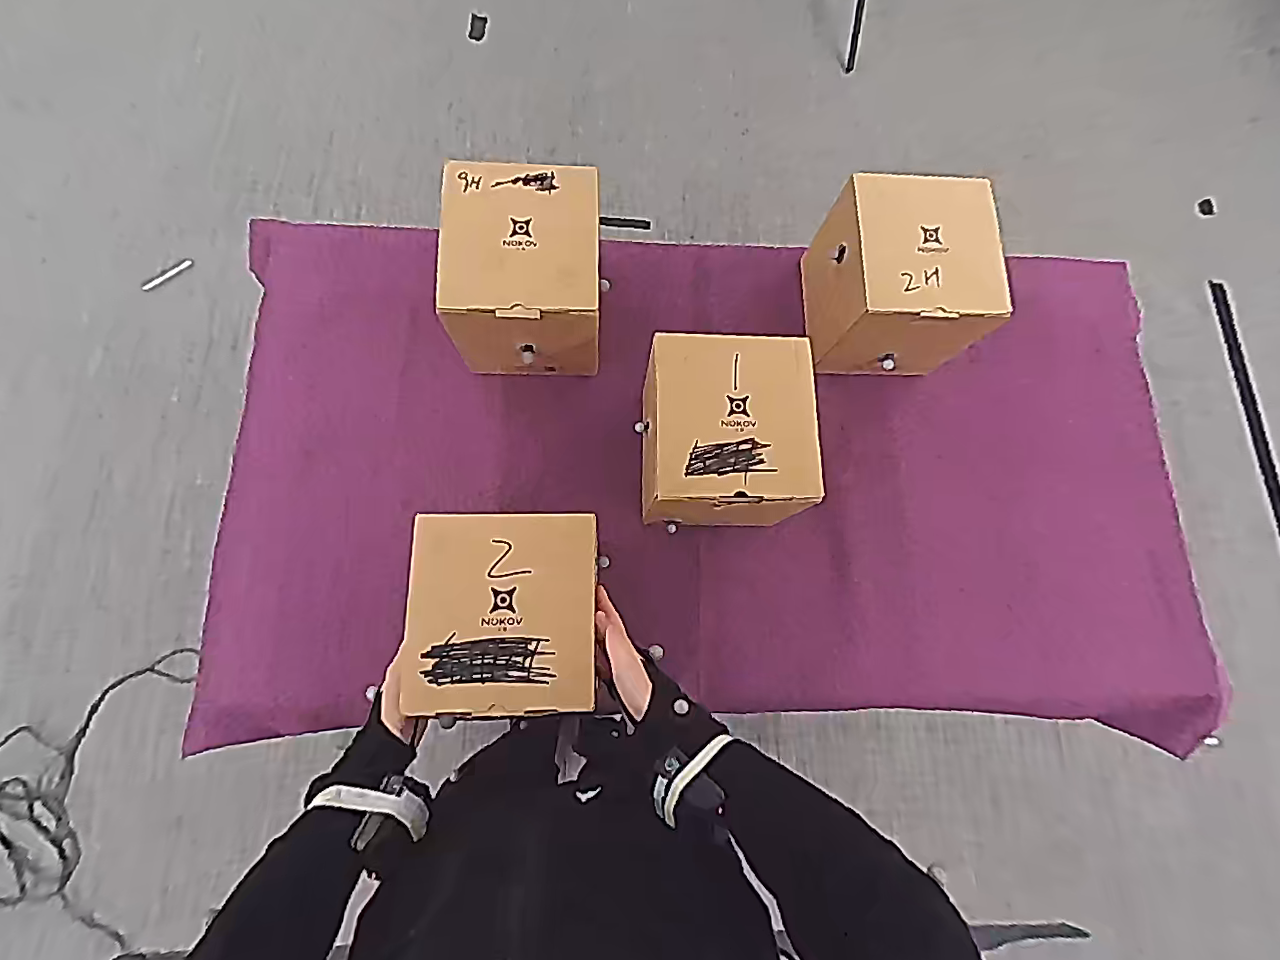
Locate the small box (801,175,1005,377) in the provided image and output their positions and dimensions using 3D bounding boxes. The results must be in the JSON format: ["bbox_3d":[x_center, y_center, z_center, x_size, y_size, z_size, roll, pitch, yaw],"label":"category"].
[{"bbox_3d":[0.313,-0.246,0.683,0.168,0.176,0.179,0,78,-3],"label":"small box"}]

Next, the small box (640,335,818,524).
[{"bbox_3d":[0.089,-0.046,0.621,0.168,0.176,0.179,1,76,-4],"label":"small box"}]

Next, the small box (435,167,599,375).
[{"bbox_3d":[-0.133,-0.235,0.647,0.168,0.176,0.179,0,79,-5],"label":"small box"}]
